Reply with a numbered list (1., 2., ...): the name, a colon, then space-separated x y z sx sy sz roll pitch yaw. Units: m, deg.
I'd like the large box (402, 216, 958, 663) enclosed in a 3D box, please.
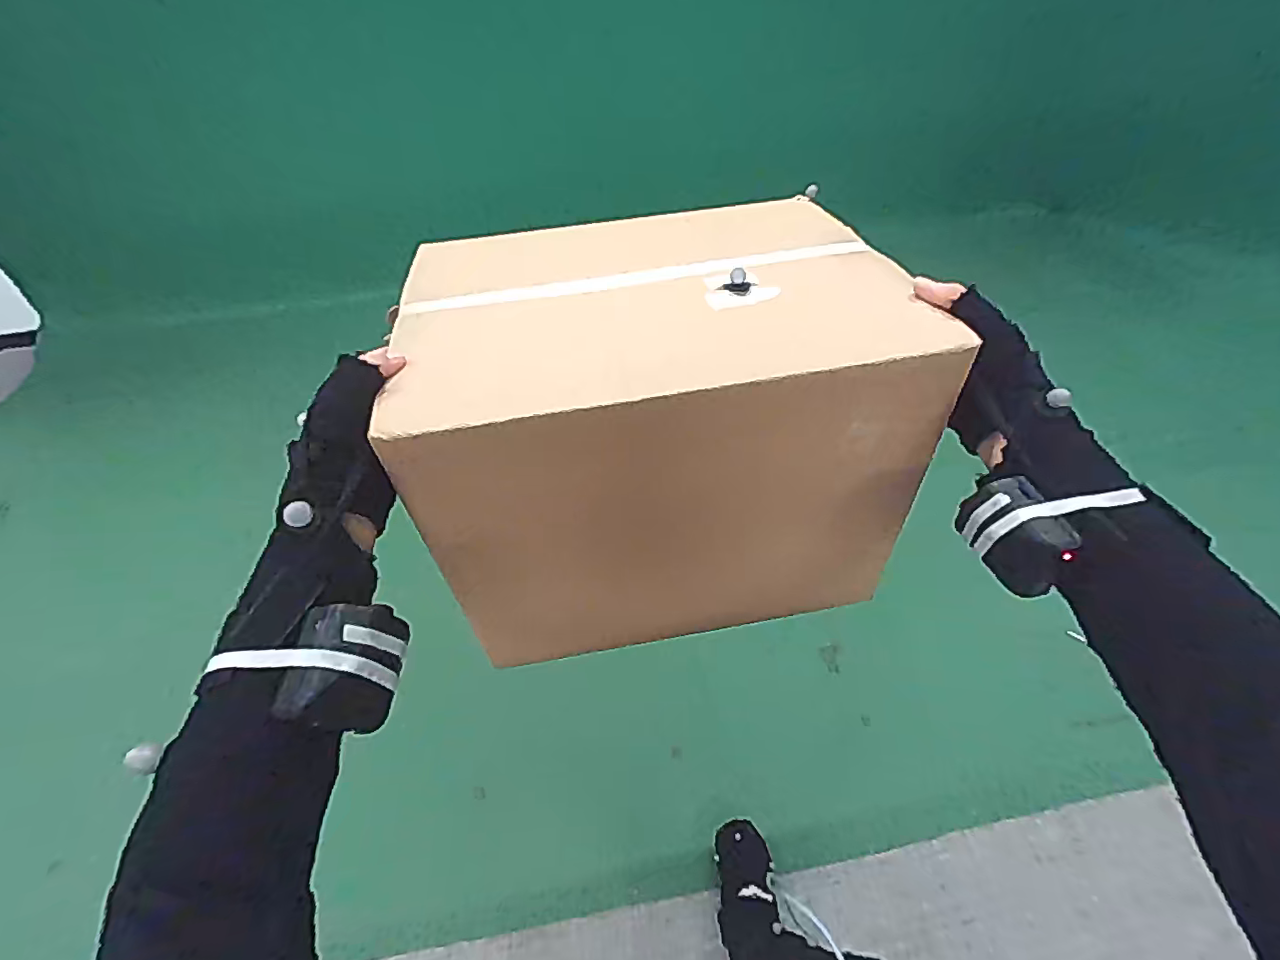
1. large box: 0.016 -0.050 0.576 0.408 0.320 0.320 -9 46 -6
